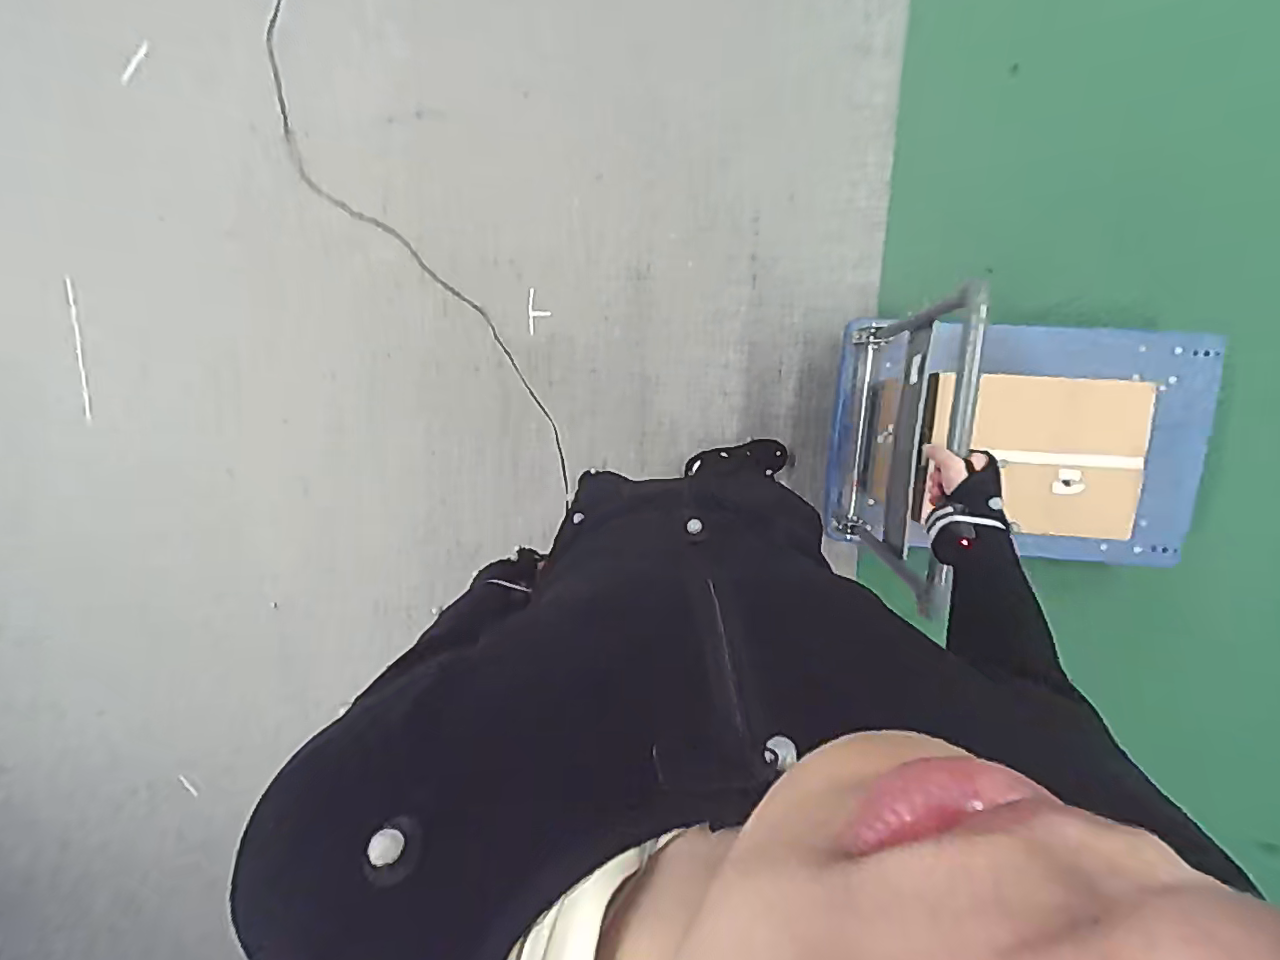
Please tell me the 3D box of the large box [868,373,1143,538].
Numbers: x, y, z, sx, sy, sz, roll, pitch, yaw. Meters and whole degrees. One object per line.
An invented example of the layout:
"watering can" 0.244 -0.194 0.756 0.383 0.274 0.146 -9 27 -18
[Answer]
"large box" 0.779 -0.065 1.225 0.408 0.320 0.320 5 98 4
